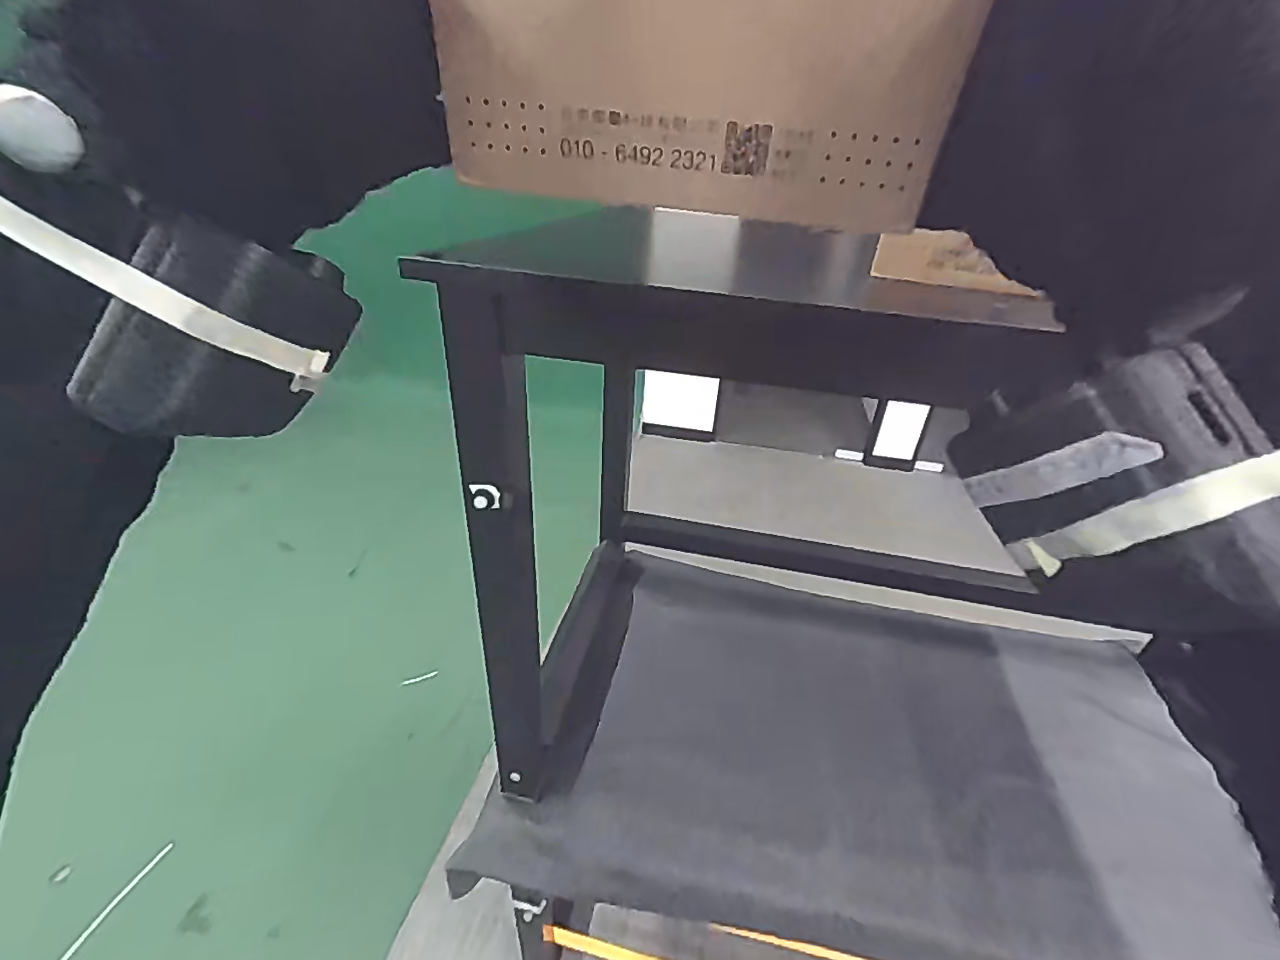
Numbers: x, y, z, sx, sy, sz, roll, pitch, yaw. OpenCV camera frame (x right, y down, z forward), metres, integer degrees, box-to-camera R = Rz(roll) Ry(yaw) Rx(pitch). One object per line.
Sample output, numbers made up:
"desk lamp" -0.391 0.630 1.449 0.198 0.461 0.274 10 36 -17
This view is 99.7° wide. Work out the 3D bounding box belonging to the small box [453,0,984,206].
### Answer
"small box" 0.034 -0.215 0.201 0.168 0.176 0.179 9 40 5
